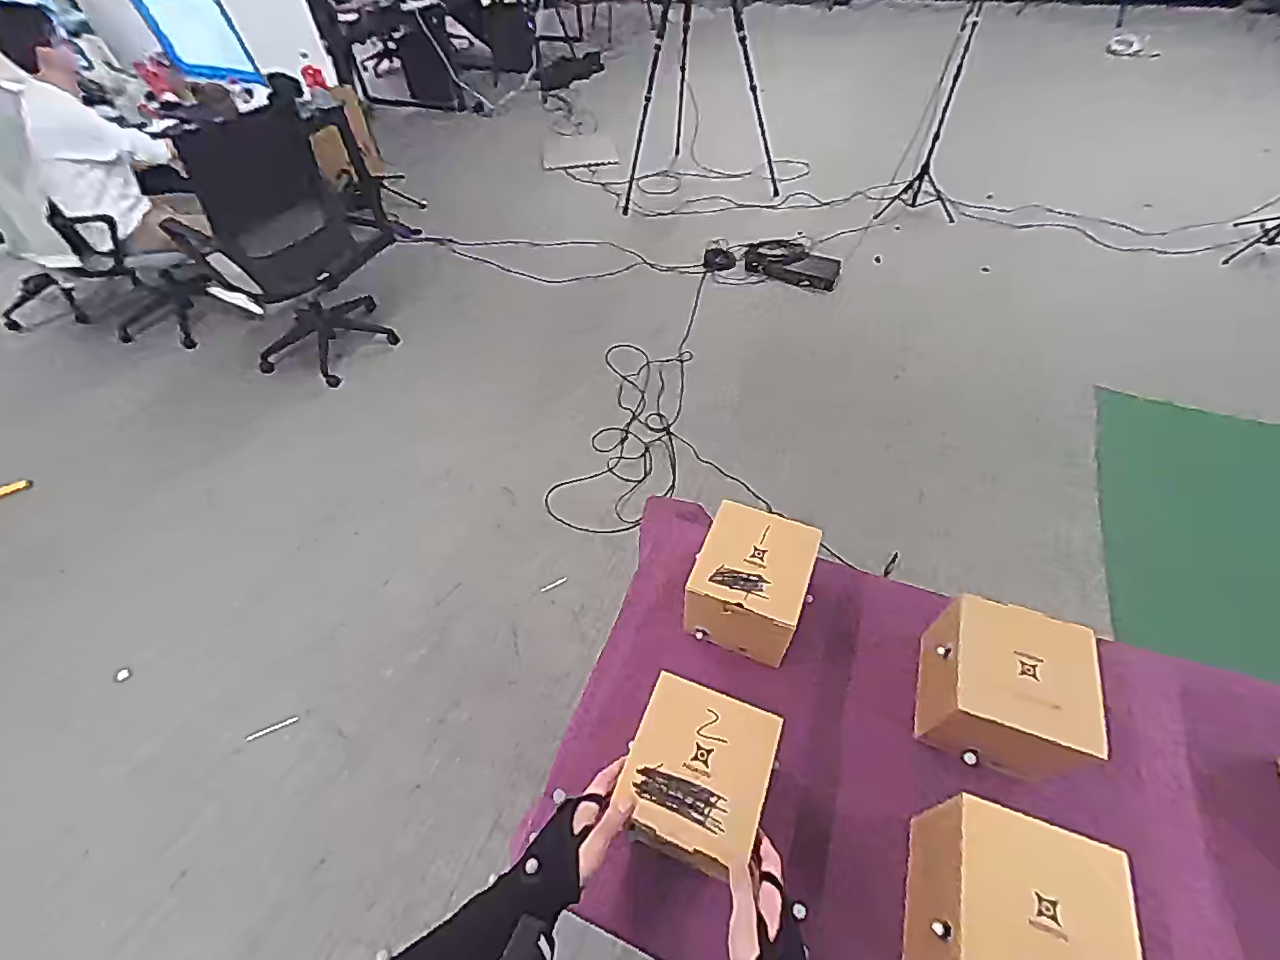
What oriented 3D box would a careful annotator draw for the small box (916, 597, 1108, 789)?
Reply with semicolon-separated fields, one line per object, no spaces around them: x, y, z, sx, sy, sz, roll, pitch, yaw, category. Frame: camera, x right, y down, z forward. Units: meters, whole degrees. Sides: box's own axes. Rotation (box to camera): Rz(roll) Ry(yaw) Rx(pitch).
0.507;0.301;0.761;0.168;0.176;0.179;16;54;17;small box

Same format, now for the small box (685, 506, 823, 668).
0.181;0.177;0.878;0.168;0.176;0.179;18;55;17;small box

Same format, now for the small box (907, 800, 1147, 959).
0.415;0.497;0.603;0.168;0.176;0.179;15;53;15;small box
